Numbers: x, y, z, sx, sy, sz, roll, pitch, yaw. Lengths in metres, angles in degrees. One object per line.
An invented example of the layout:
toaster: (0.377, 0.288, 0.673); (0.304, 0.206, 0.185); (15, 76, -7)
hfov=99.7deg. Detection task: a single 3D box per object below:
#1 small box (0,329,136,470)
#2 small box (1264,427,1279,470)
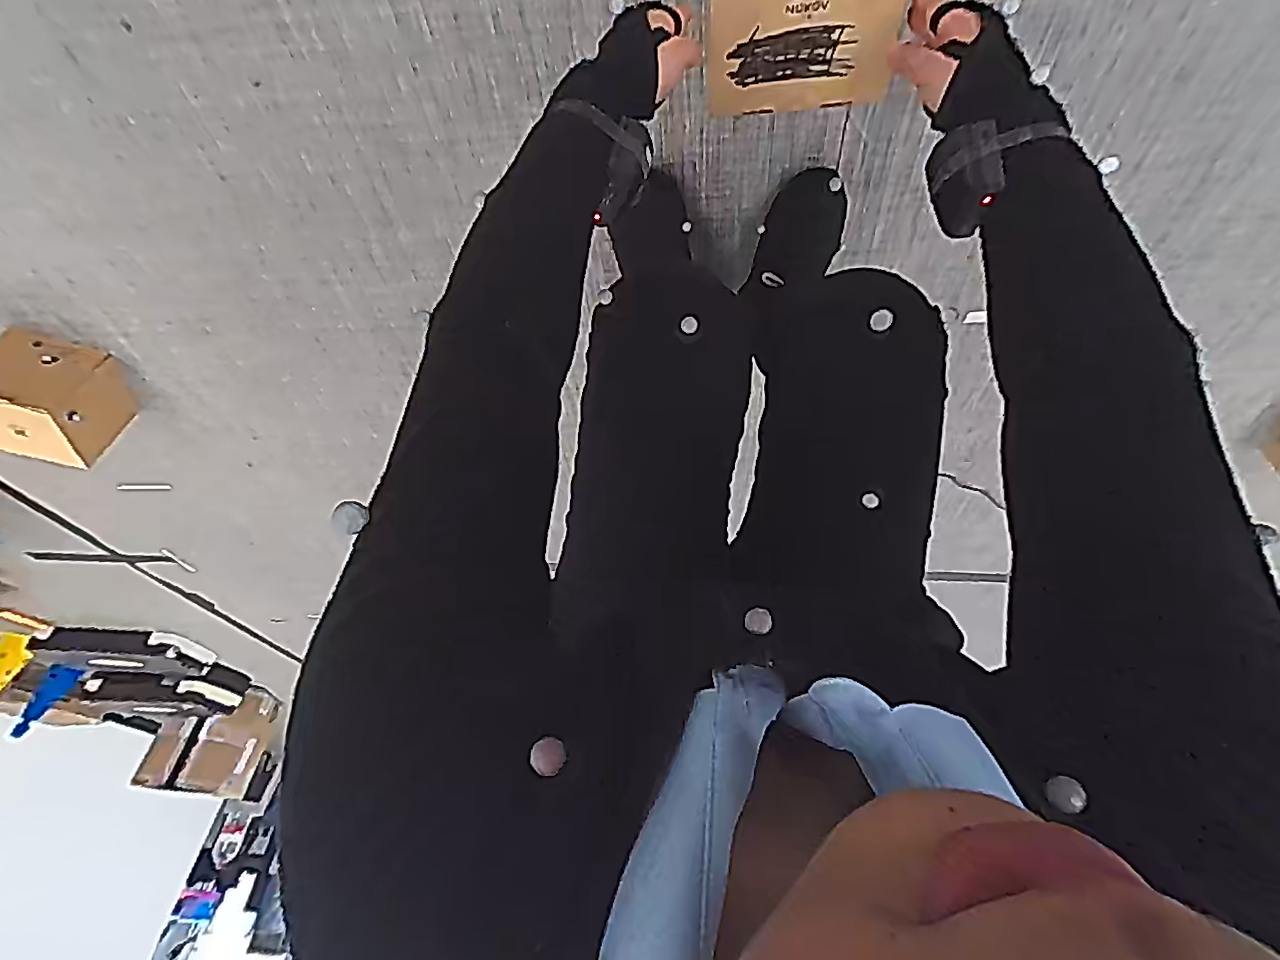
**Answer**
small box: (-1.135, -0.153, 1.040); (0.168, 0.176, 0.179); (16, 140, -13)
small box: (1.247, -0.057, 0.917); (0.179, 0.176, 0.168); (-11, 139, 18)
